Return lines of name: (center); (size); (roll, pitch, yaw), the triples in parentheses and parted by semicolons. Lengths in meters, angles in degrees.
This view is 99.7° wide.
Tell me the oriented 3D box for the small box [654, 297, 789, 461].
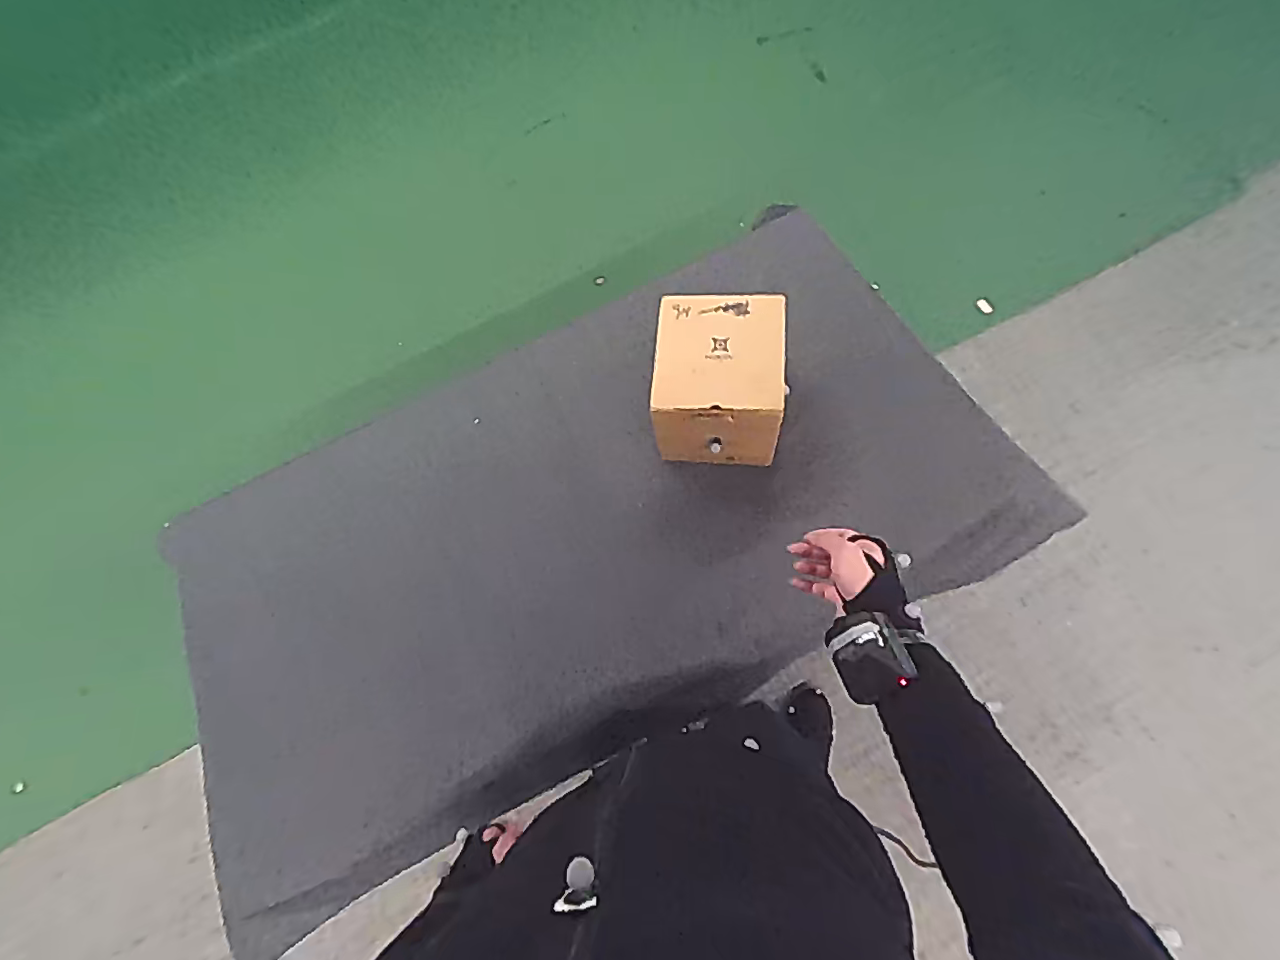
small box: (0.118, -0.137, 0.770); (0.168, 0.176, 0.179); (3, 71, 9)
